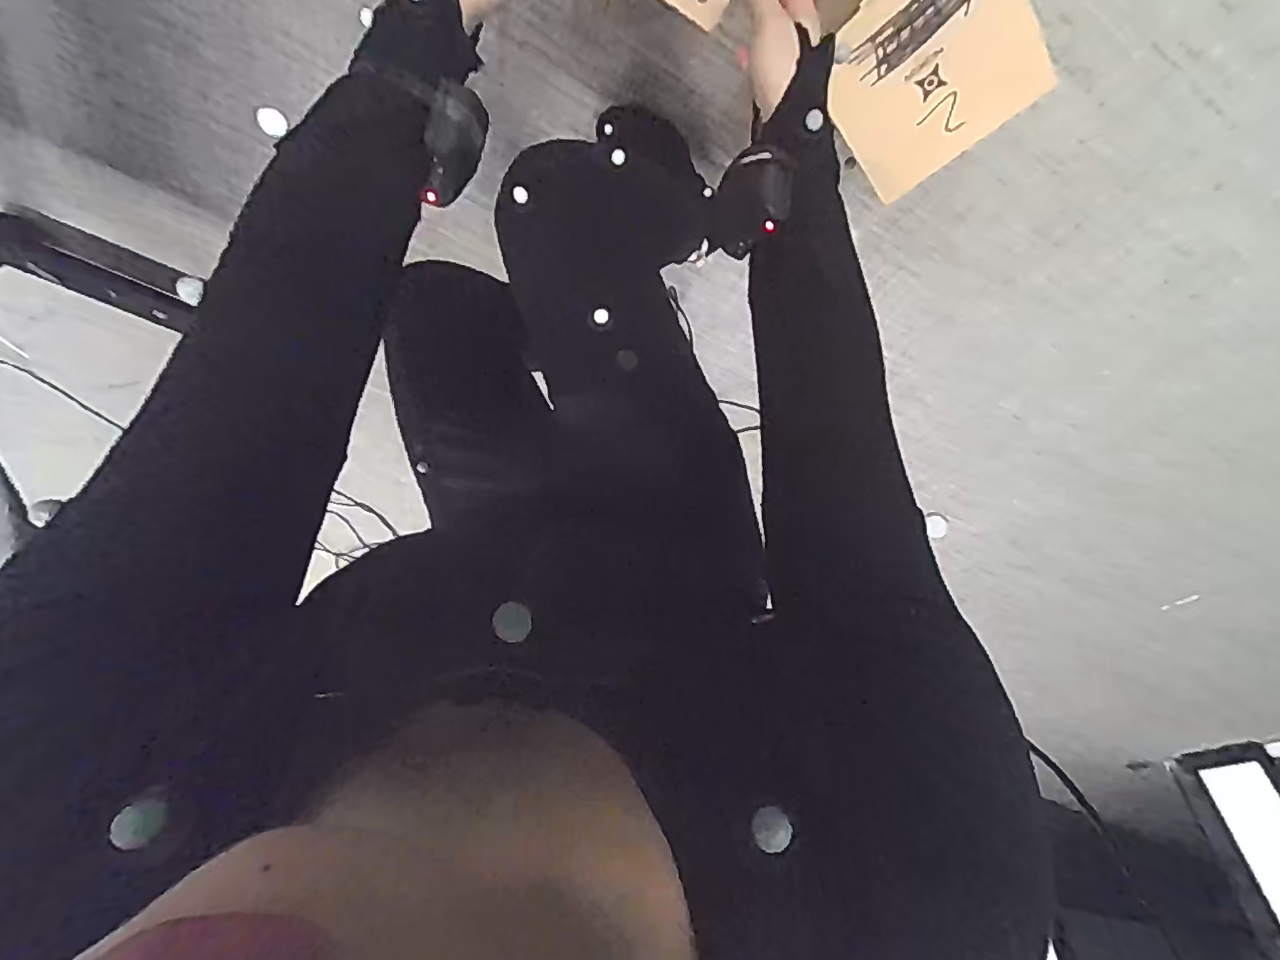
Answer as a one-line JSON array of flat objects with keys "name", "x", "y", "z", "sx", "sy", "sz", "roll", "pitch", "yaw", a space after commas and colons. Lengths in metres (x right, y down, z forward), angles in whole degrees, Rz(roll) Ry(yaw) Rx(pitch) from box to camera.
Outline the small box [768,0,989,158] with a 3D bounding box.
[{"name": "small box", "x": 0.278, "y": -0.552, "z": 0.662, "sx": 0.179, "sy": 0.176, "sz": 0.168, "roll": 29, "pitch": 134, "yaw": -24}]
